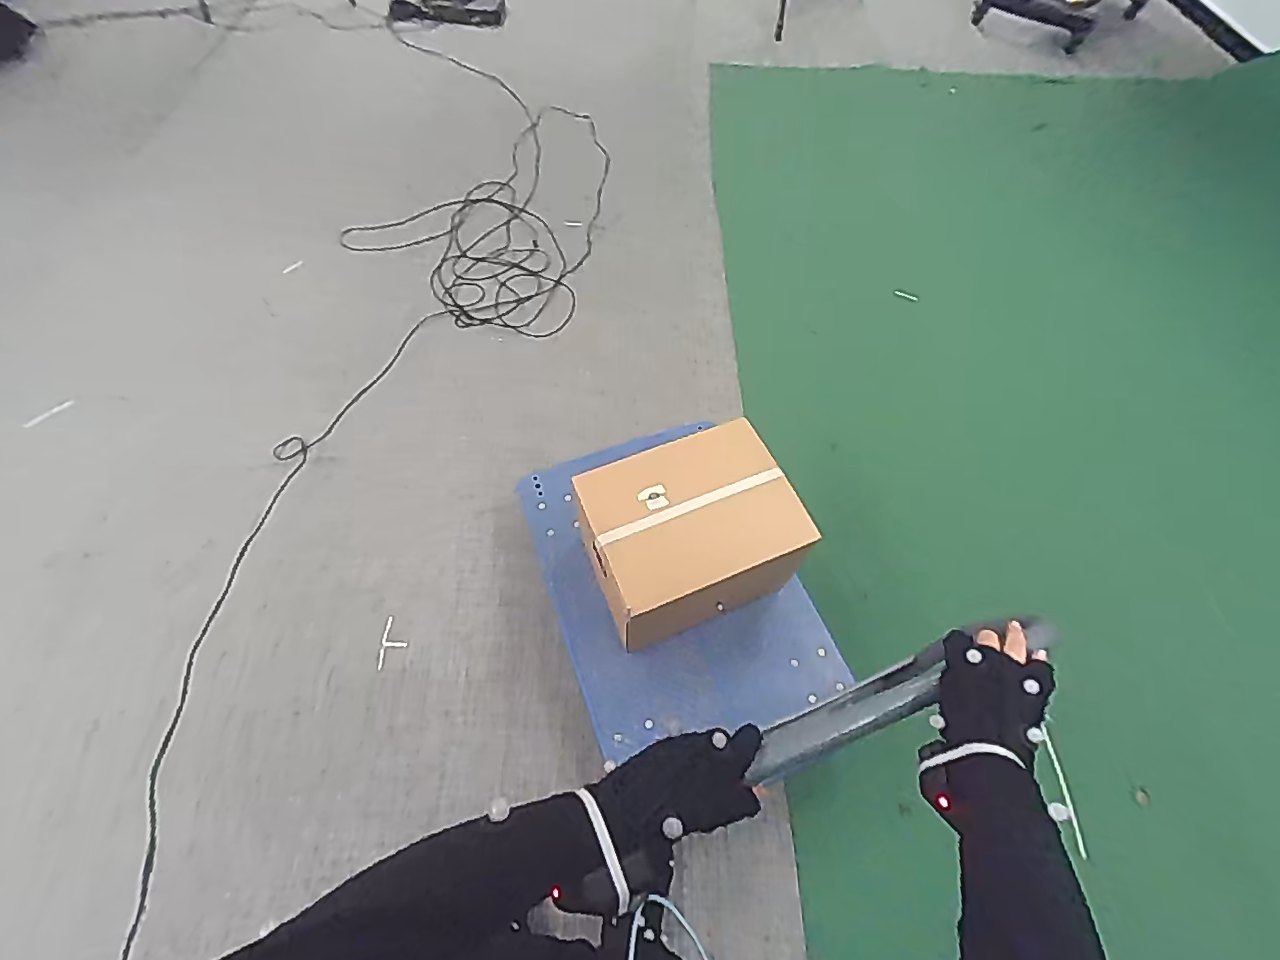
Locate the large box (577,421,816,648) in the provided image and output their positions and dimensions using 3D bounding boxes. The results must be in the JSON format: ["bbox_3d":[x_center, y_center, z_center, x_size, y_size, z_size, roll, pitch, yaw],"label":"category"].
[{"bbox_3d":[0.107,0.130,1.214,0.408,0.320,0.320,-20,63,-12],"label":"large box"}]
